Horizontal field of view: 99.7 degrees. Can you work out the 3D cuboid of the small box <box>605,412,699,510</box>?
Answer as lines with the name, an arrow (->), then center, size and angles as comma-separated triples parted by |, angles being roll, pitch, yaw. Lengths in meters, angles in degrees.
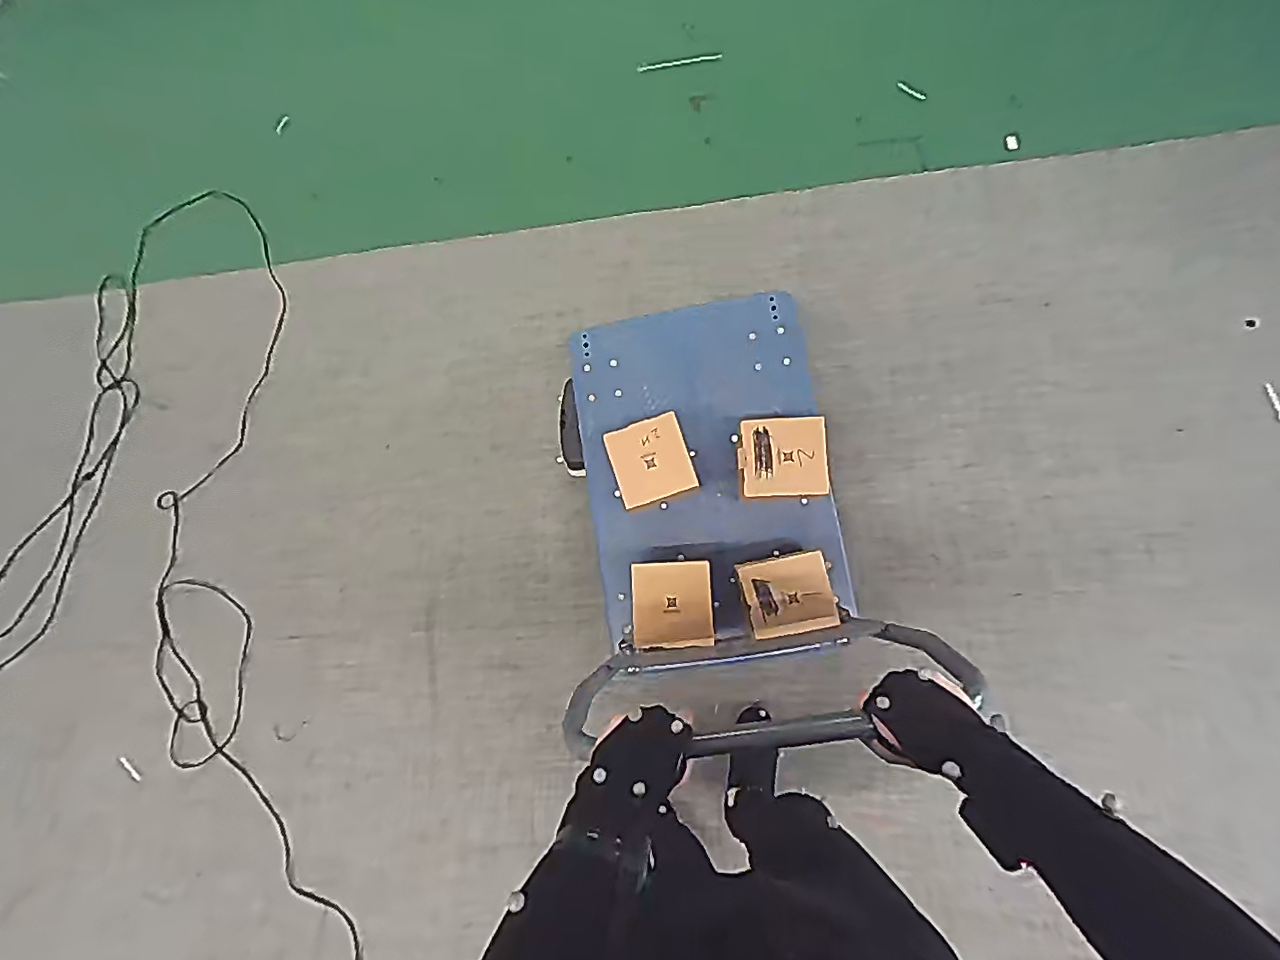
small box -> 0.034, -0.035, 1.238 | 0.168, 0.176, 0.179 | -18, 81, 3

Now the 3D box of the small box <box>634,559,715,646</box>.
small box -> 0.076, 0.265, 1.197 | 0.168, 0.176, 0.179 | -3, 83, 5
